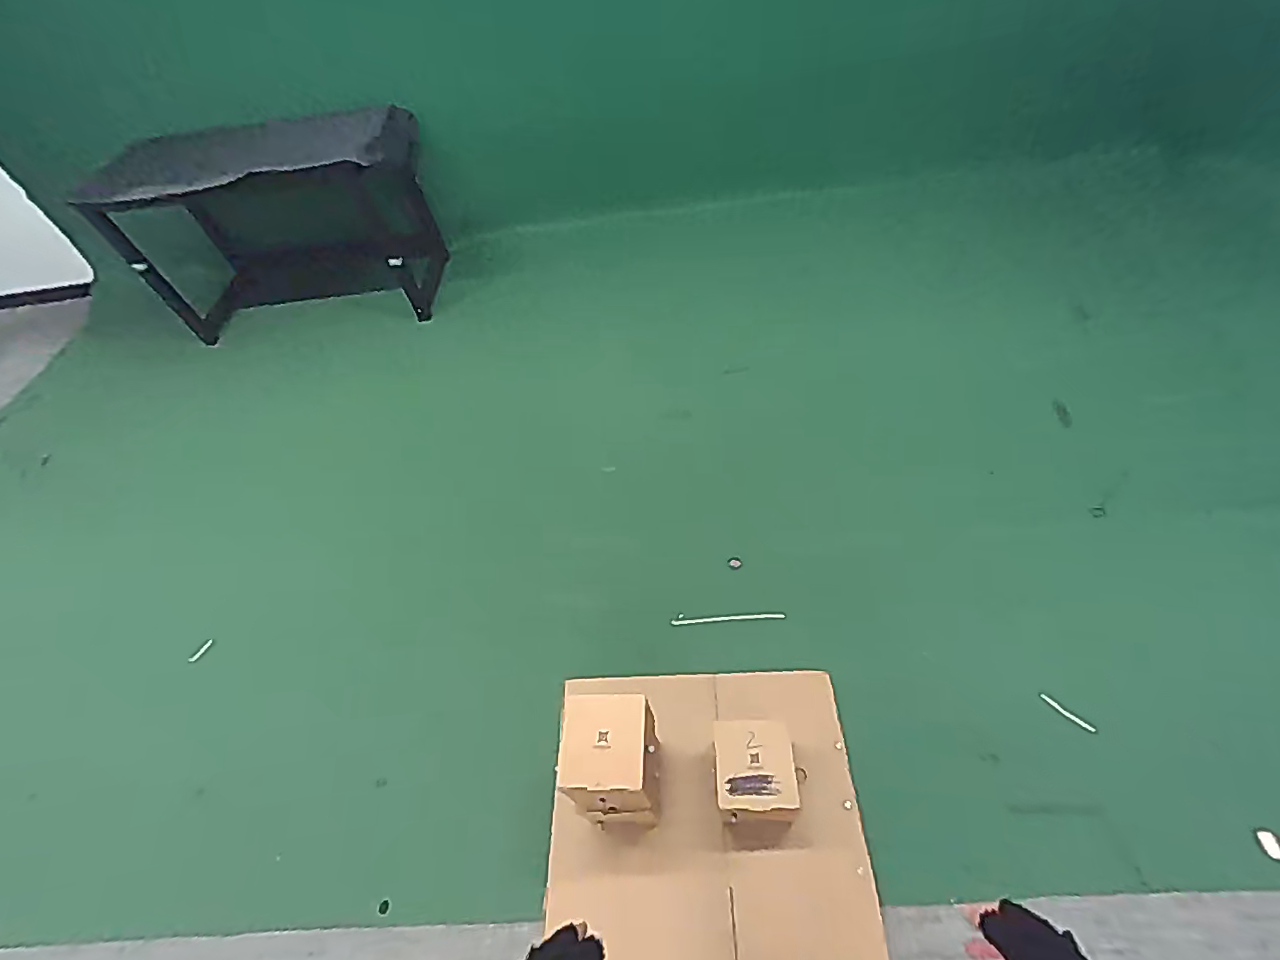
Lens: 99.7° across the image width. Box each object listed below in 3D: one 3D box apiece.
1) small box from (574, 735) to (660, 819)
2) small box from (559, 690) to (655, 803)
[{"bbox_3d":[-0.044,0.663,1.234,0.168,0.176,0.179,-4,50,7],"label":"small box"},{"bbox_3d":[-0.059,0.551,1.117,0.168,0.176,0.179,-2,51,7],"label":"small box"}]
